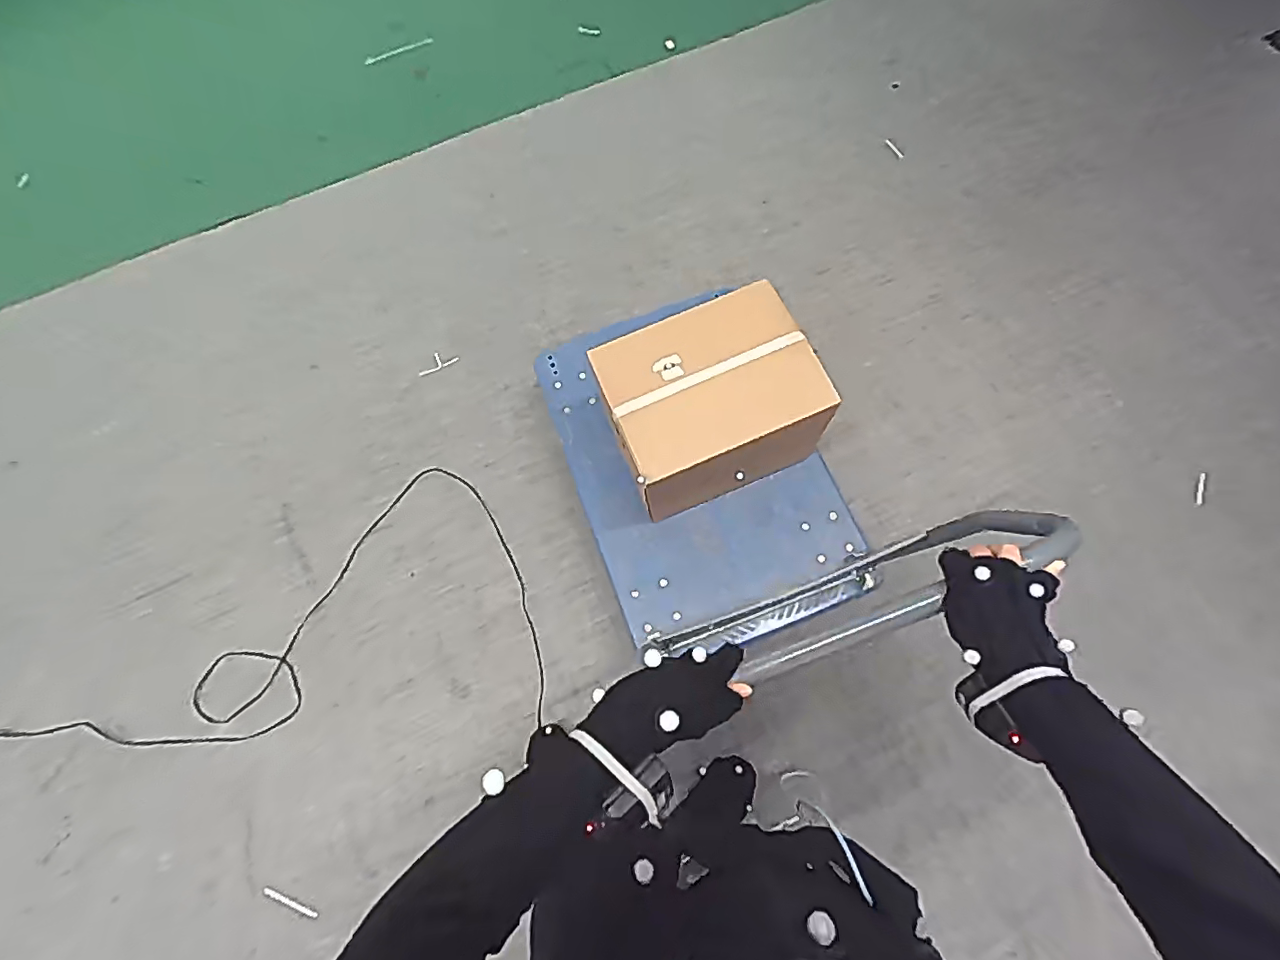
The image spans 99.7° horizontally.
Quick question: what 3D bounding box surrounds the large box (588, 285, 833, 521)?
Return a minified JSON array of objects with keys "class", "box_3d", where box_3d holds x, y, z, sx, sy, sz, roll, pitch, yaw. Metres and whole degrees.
[{"class":"large box","box_3d":[0.147,-0.152,1.212,0.408,0.320,0.320,-25,71,-2]}]
